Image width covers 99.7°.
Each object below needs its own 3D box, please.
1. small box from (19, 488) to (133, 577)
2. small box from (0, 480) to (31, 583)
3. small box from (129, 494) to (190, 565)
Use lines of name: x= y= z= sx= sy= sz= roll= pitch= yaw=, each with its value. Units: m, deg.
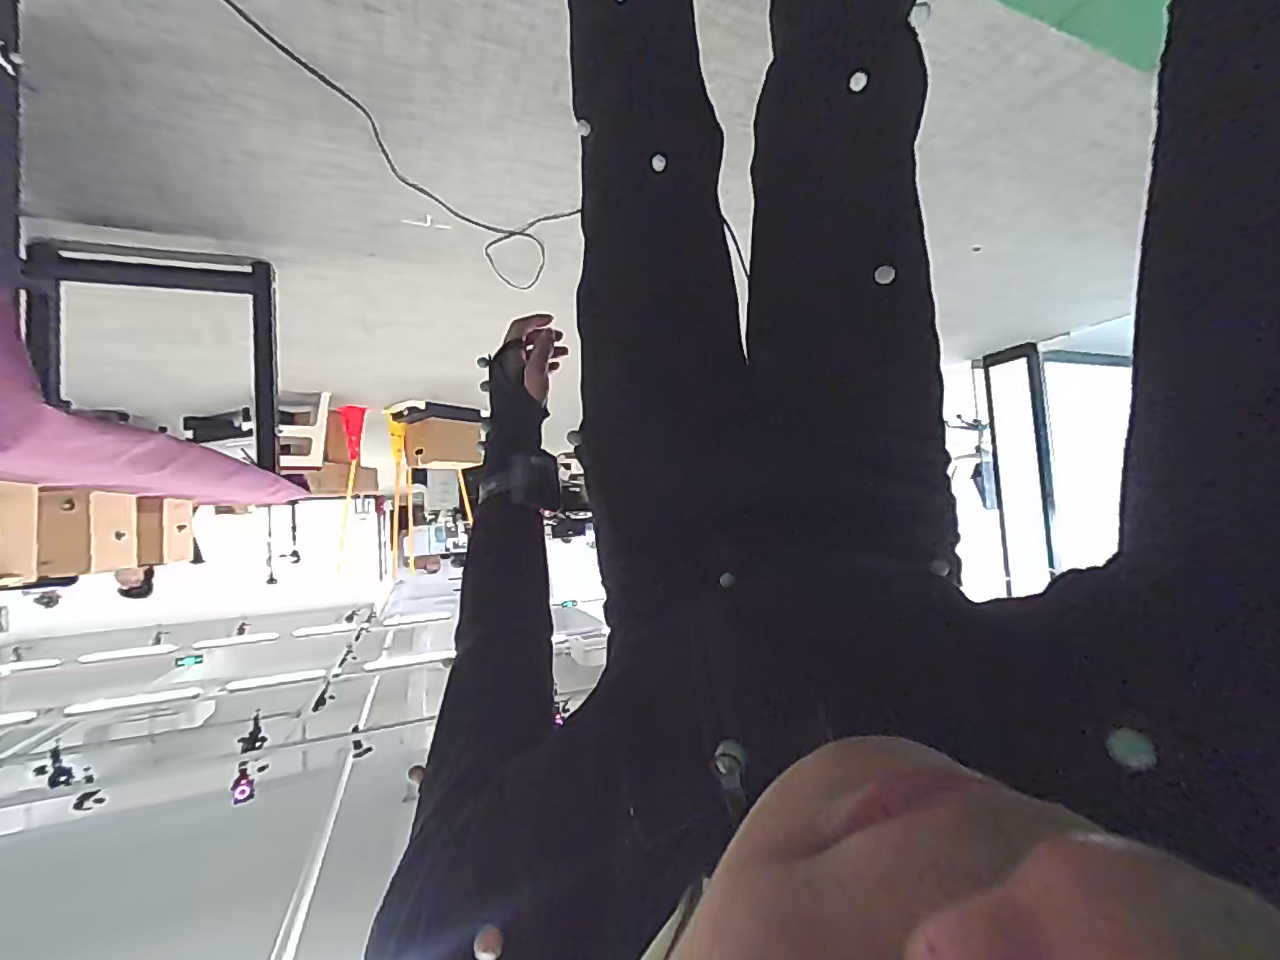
small box: x=-1.172 y=0.103 z=1.089 sx=0.168 sy=0.176 sz=0.179 roll=-2 pitch=177 yaw=-20
small box: x=-1.061 y=0.078 z=0.789 sx=0.179 sy=0.176 sz=0.168 roll=-2 pitch=176 yaw=-21
small box: x=-1.276 y=0.127 z=1.360 sx=0.179 sy=0.176 sz=0.168 roll=-3 pitch=176 yaw=-20
